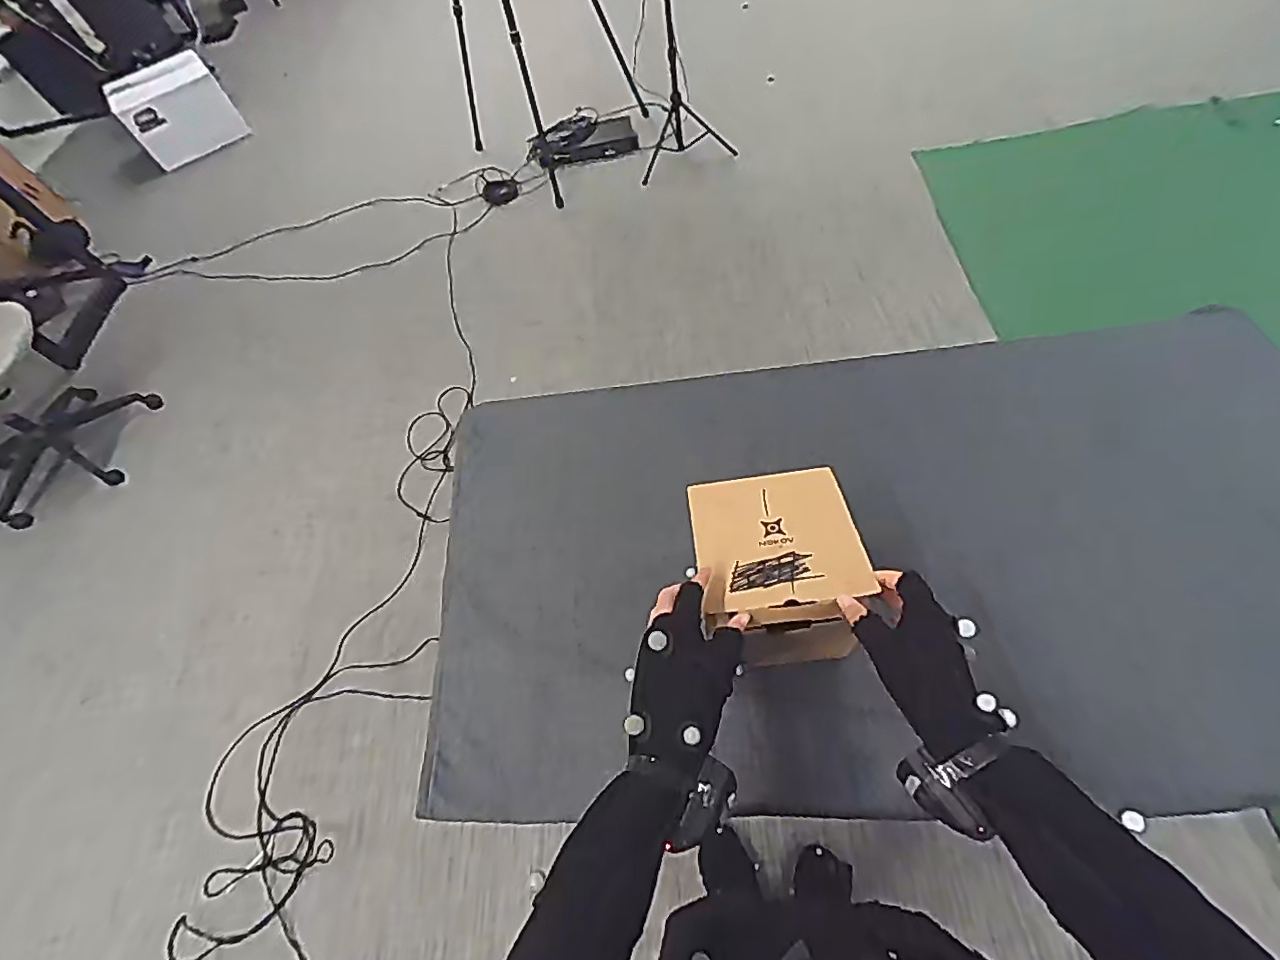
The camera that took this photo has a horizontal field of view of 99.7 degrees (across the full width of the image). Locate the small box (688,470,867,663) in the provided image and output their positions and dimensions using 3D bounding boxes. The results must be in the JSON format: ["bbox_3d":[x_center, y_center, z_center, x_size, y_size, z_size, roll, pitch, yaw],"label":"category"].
[{"bbox_3d":[0.152,0.112,0.645,0.168,0.176,0.179,-8,58,6],"label":"small box"}]
